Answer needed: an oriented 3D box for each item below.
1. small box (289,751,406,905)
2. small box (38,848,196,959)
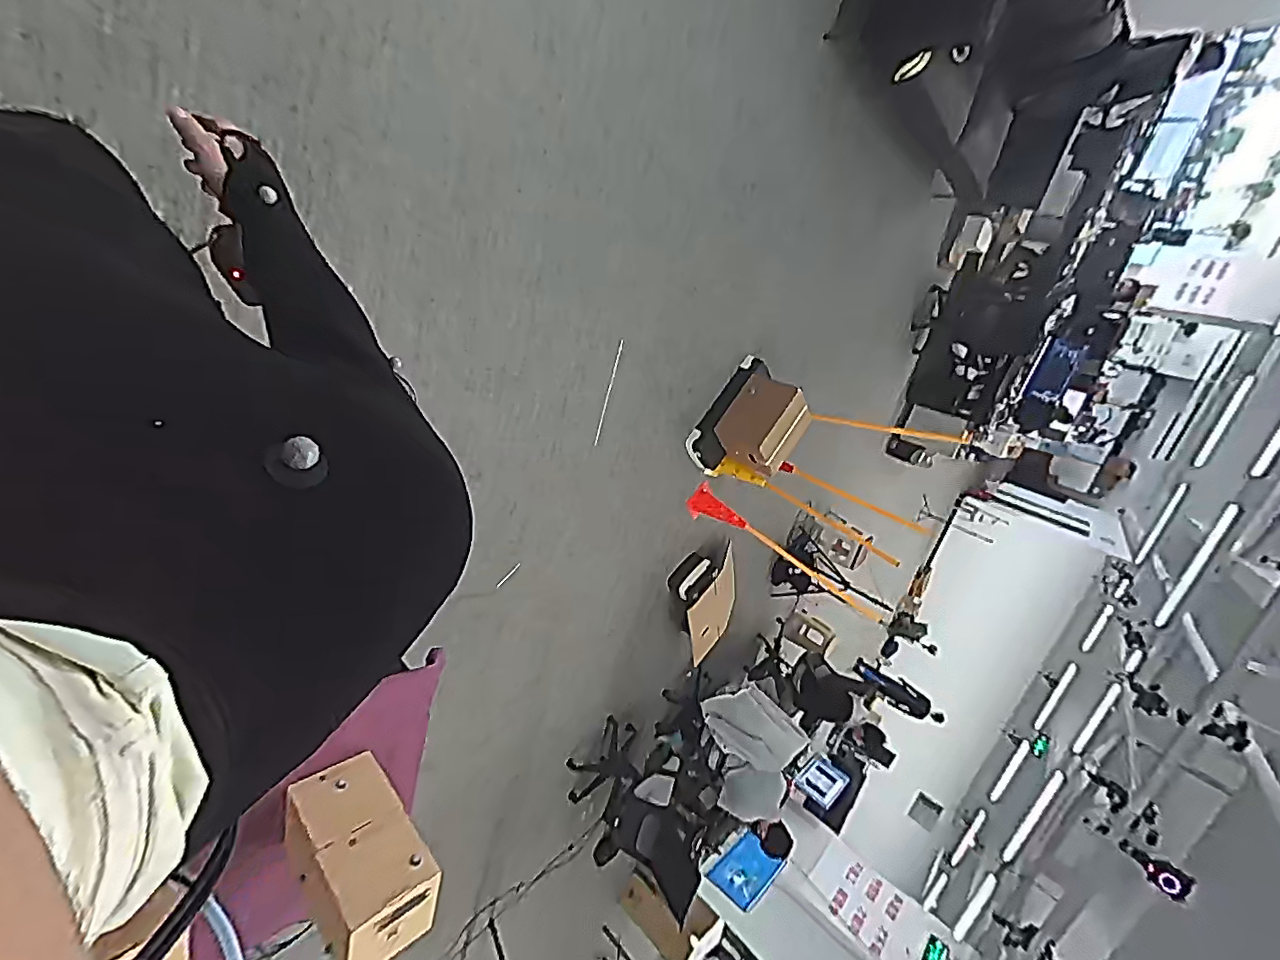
[{"bbox_3d":[-0.619,0.721,1.140,0.168,0.176,0.179,-8,119,-48],"label":"small box"},{"bbox_3d":[-0.848,0.748,0.880,0.168,0.176,0.179,-7,119,-49],"label":"small box"}]
